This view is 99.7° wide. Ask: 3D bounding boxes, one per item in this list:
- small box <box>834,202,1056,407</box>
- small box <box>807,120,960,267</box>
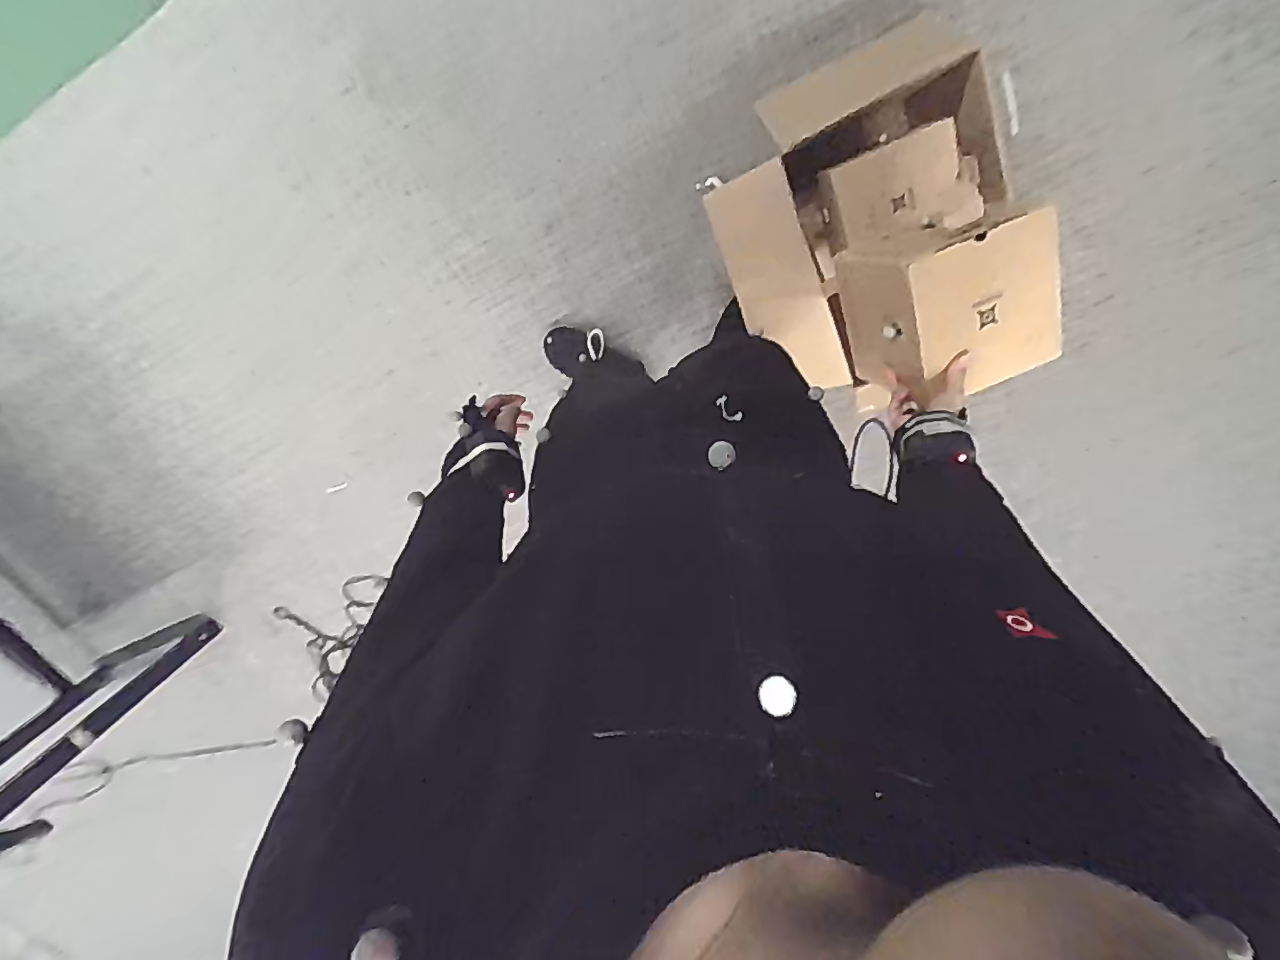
[{"bbox_3d":[0.363,-0.217,0.661,0.168,0.176,0.179,-23,115,1],"label":"small box"},{"bbox_3d":[0.395,-0.460,0.893,0.179,0.176,0.168,-19,113,14],"label":"small box"}]
